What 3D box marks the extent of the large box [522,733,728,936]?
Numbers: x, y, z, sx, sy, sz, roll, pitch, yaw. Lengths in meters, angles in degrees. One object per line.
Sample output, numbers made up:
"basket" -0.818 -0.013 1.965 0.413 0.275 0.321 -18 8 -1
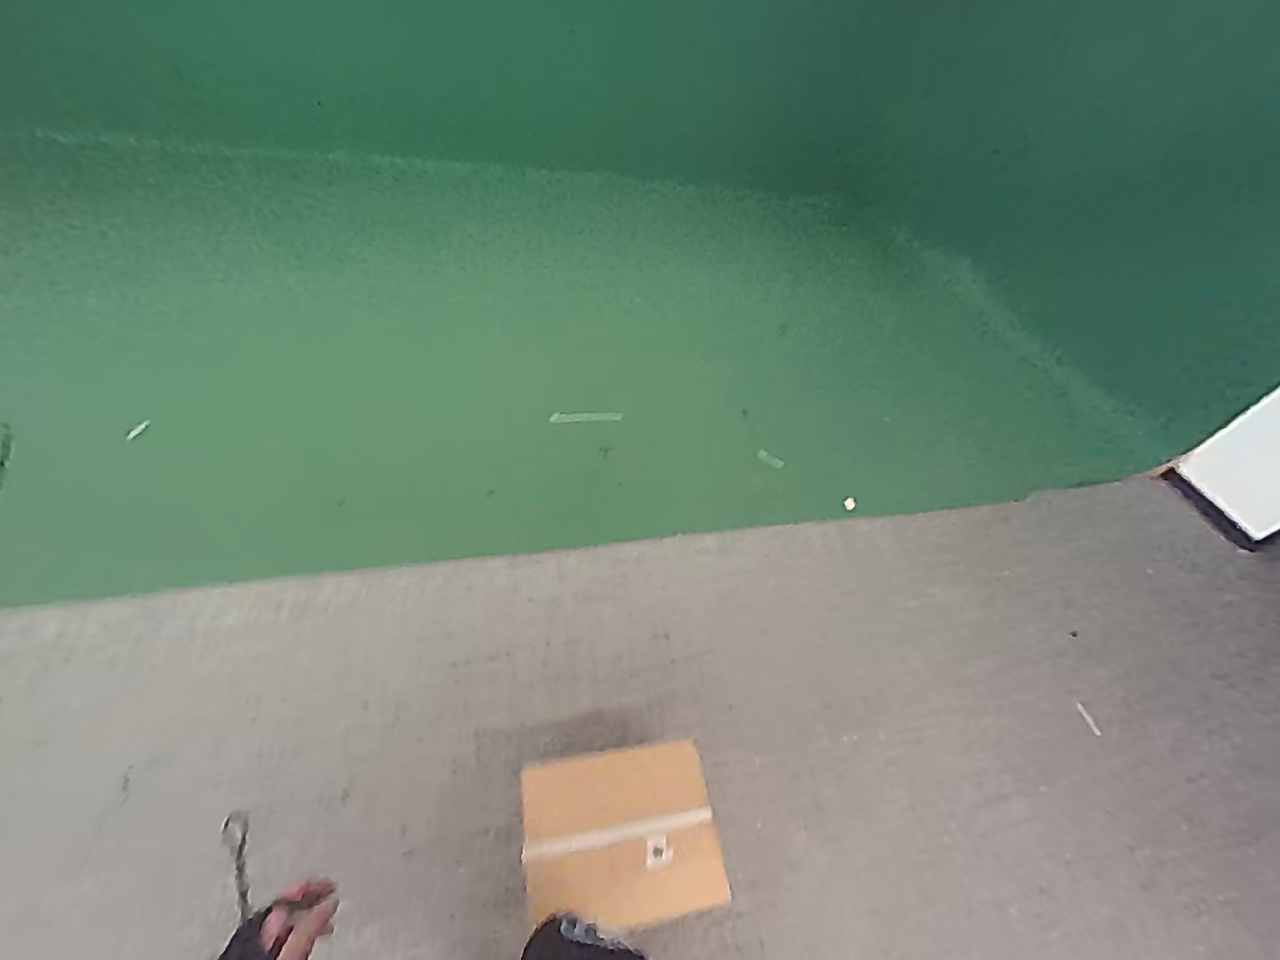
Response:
"large box" -0.062 0.820 1.259 0.408 0.320 0.320 -1 52 -14
